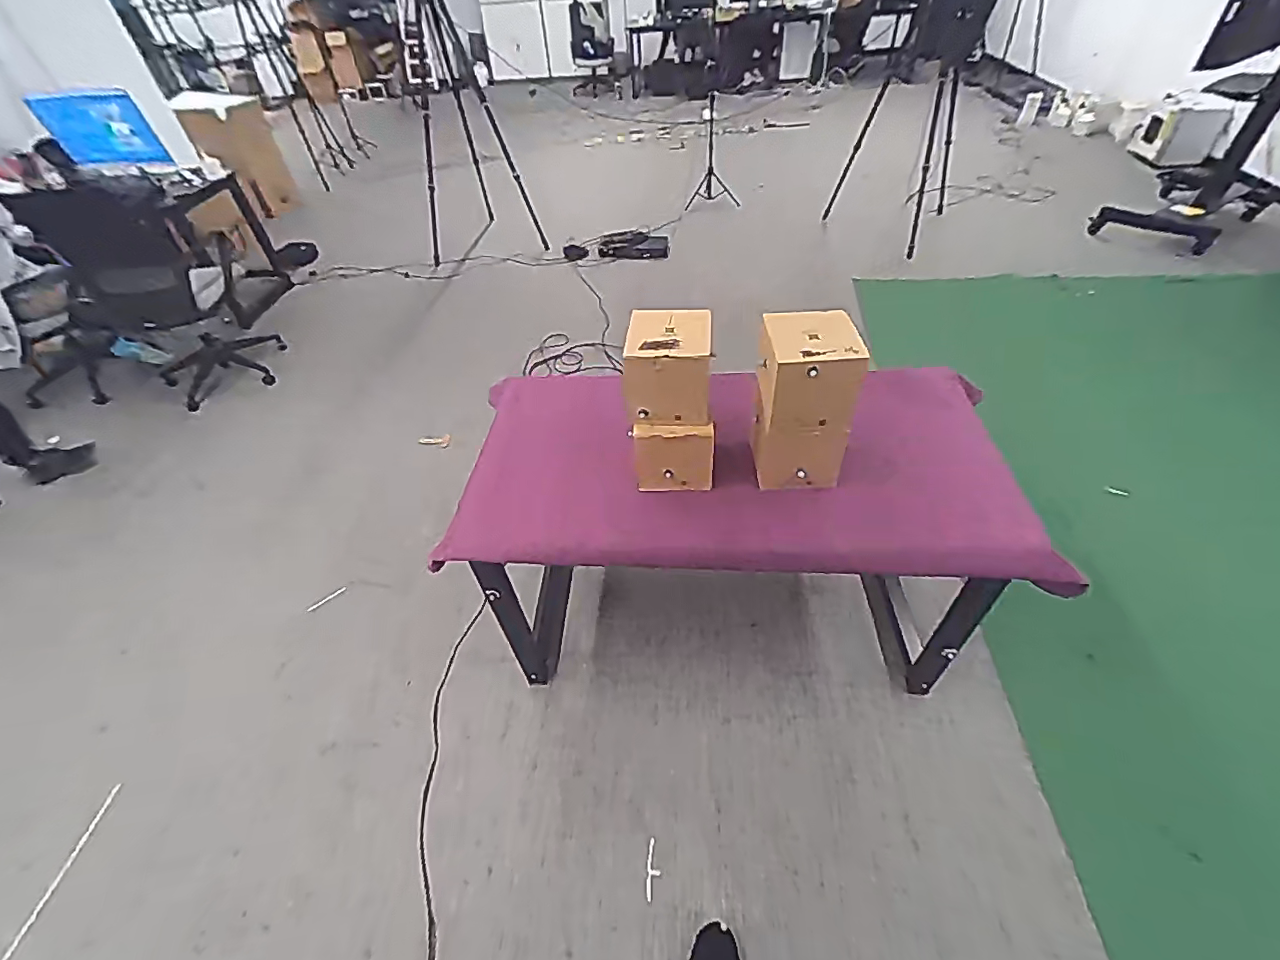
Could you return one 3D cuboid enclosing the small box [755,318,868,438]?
[{"bbox_3d":[0.328,-0.202,1.072,0.168,0.176,0.179,-3,44,3],"label":"small box"}]

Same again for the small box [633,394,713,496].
[{"bbox_3d":[0.073,-0.083,1.211,0.168,0.176,0.179,-1,46,4],"label":"small box"}]

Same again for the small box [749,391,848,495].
[{"bbox_3d":[0.337,-0.085,1.187,0.168,0.176,0.179,-2,45,3],"label":"small box"}]

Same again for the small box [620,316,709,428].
[{"bbox_3d":[0.058,-0.221,1.117,0.168,0.176,0.179,2,45,7],"label":"small box"}]
